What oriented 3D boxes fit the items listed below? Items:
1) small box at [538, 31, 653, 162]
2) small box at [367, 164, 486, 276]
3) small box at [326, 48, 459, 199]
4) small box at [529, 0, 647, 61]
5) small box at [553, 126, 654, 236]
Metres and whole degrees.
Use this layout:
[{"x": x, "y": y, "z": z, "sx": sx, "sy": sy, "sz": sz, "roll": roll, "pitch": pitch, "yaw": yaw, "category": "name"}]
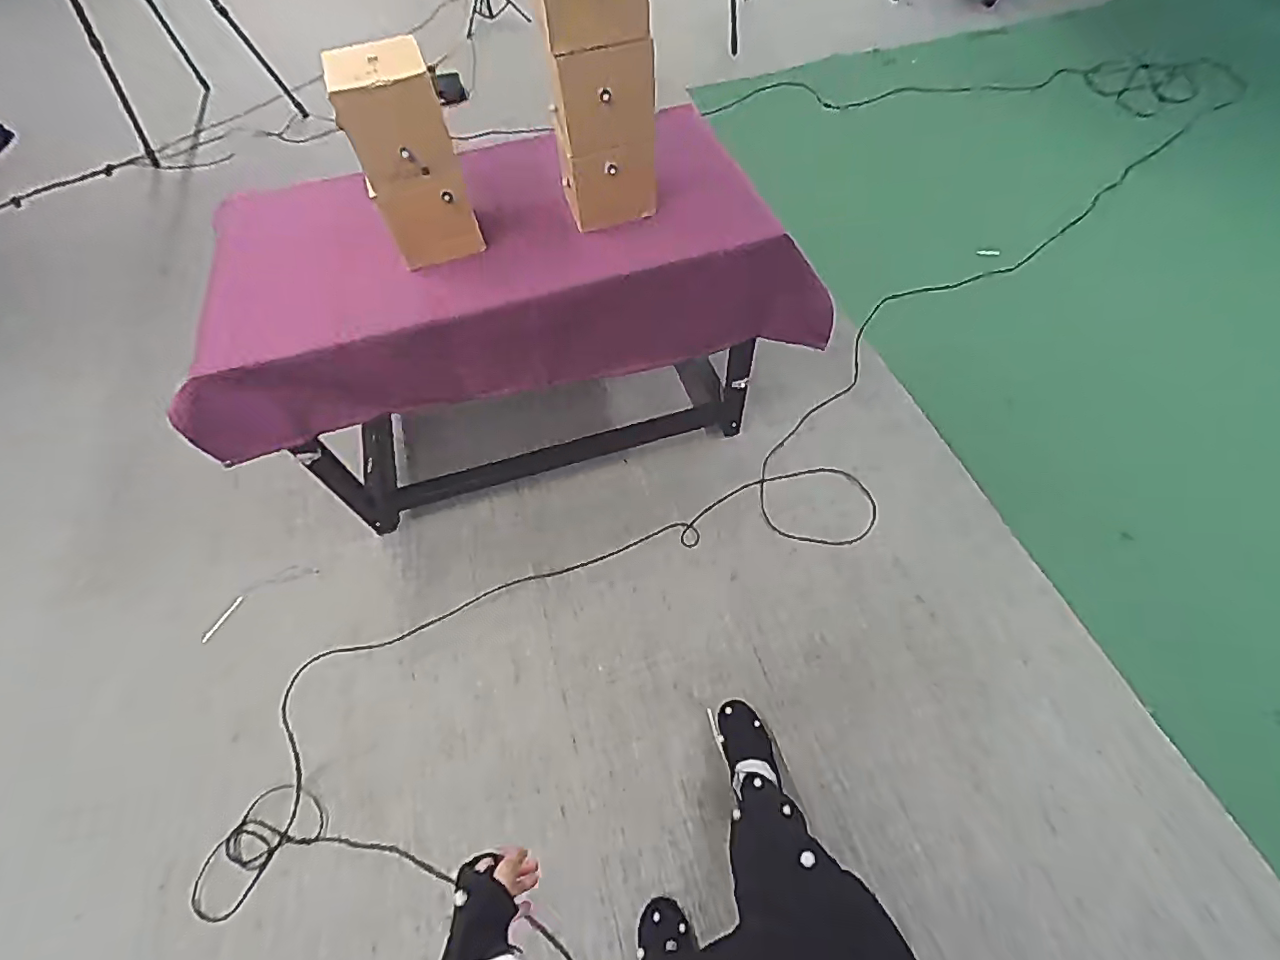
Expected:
[{"x": -0.080, "y": -0.740, "z": 1.025, "sx": 0.179, "sy": 0.176, "sz": 0.168, "roll": -16, "pitch": 59, "yaw": -5, "category": "small box"}, {"x": -0.444, "y": -0.557, "z": 1.133, "sx": 0.179, "sy": 0.176, "sz": 0.168, "roll": -19, "pitch": 59, "yaw": -9, "category": "small box"}, {"x": -0.452, "y": -0.654, "z": 0.998, "sx": 0.168, "sy": 0.176, "sz": 0.179, "roll": -19, "pitch": 59, "yaw": -8, "category": "small box"}, {"x": -0.096, "y": -0.824, "z": 0.884, "sx": 0.179, "sy": 0.176, "sz": 0.168, "roll": -17, "pitch": 60, "yaw": -5, "category": "small box"}, {"x": -0.074, "y": -0.655, "z": 1.165, "sx": 0.179, "sy": 0.176, "sz": 0.168, "roll": -15, "pitch": 59, "yaw": -6, "category": "small box"}]
